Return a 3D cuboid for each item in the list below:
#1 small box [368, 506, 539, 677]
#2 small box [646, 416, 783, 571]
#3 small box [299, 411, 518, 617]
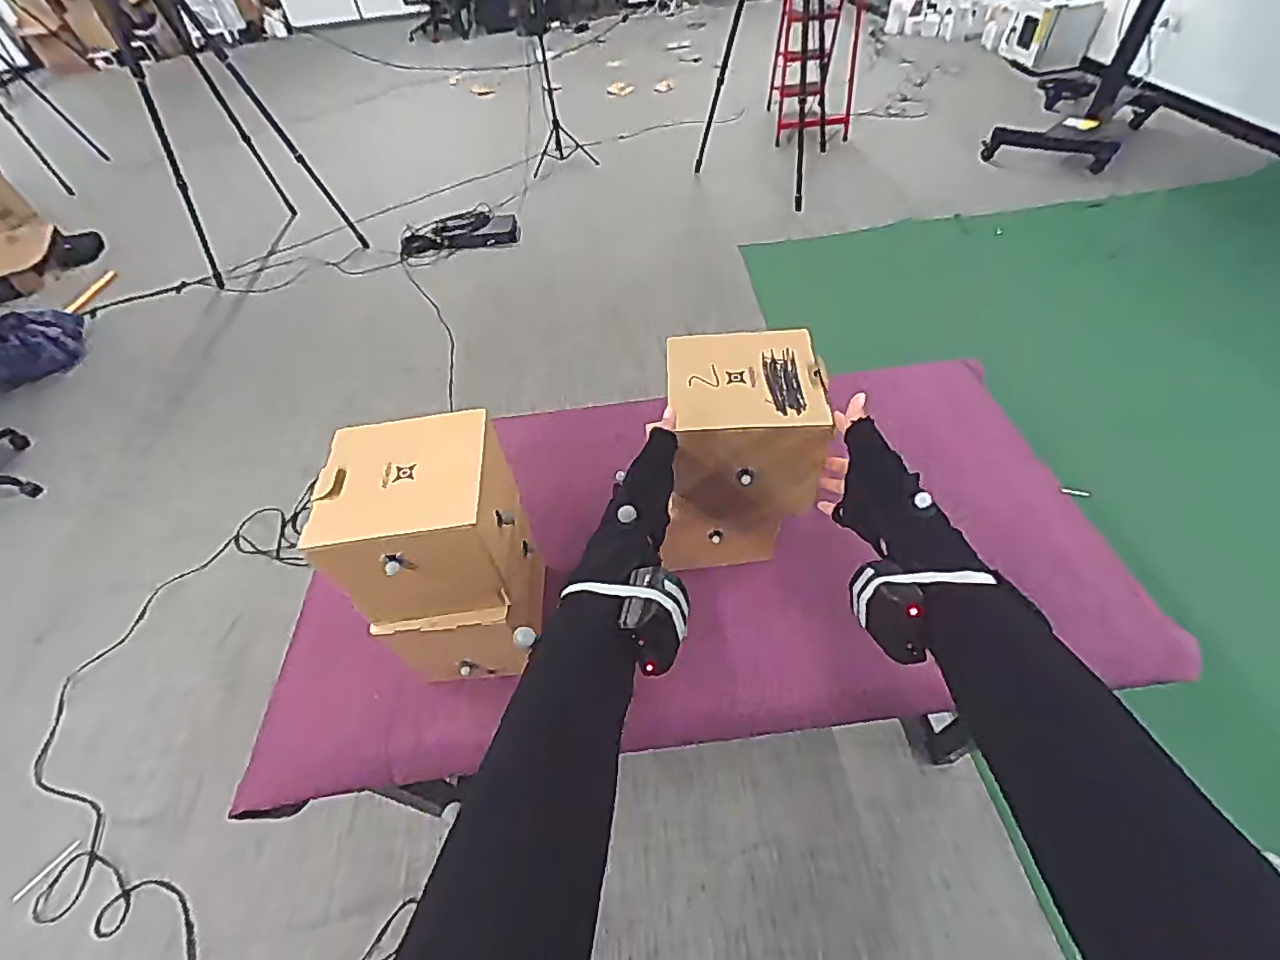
[{"bbox_3d":[-0.239,0.155,0.749,0.168,0.176,0.179,-4,51,1],"label":"small box"},{"bbox_3d":[0.104,0.025,0.829,0.179,0.176,0.168,-6,51,1],"label":"small box"},{"bbox_3d":[-0.245,0.043,0.630,0.179,0.176,0.168,-7,51,-1],"label":"small box"}]
